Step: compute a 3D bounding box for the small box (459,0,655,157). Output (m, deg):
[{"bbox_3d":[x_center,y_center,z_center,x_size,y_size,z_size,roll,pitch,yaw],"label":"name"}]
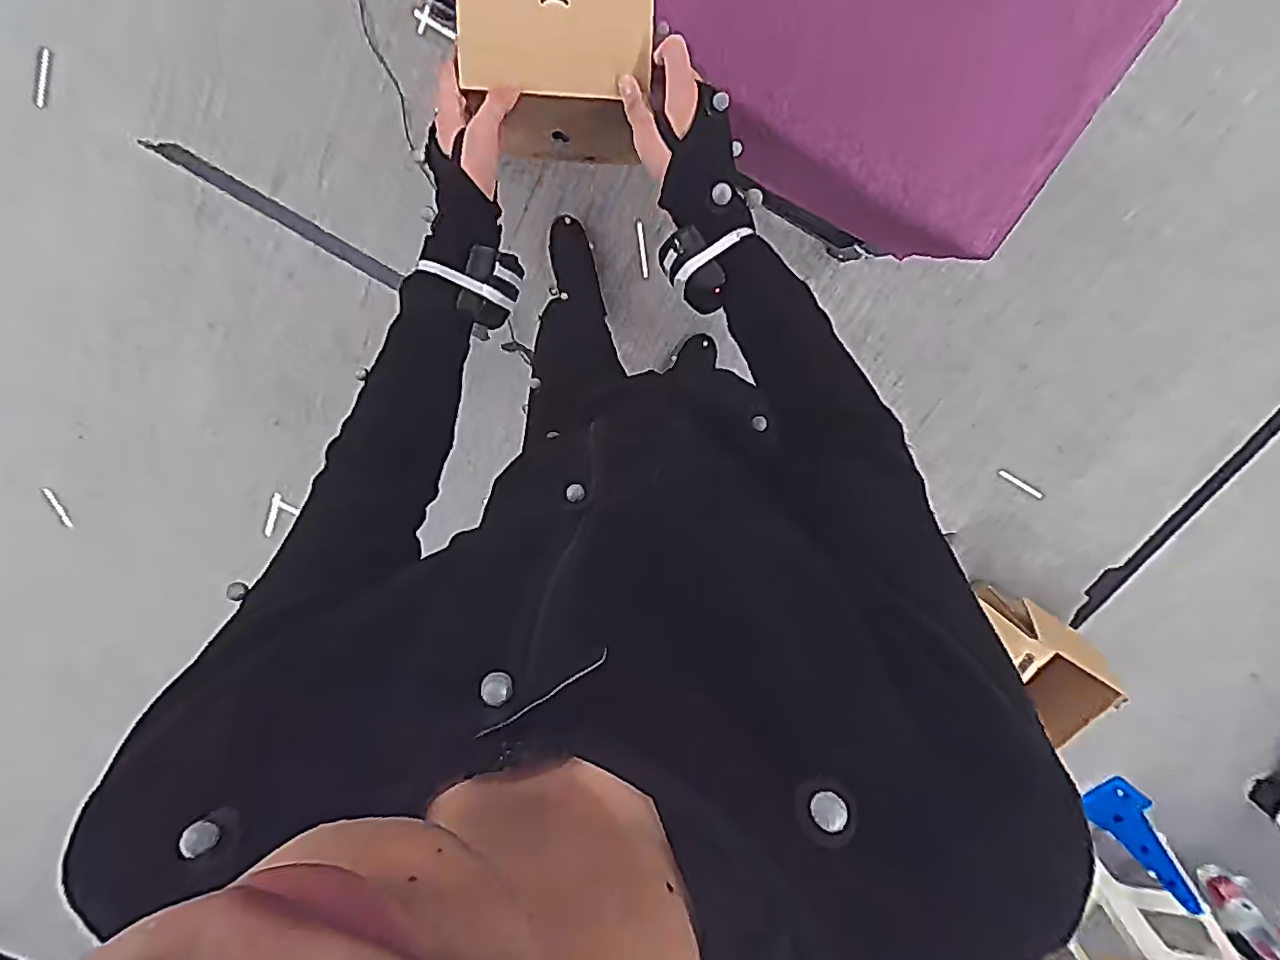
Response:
[{"bbox_3d":[-0.070,-0.440,0.528,0.168,0.176,0.179,2,102,-2],"label":"small box"}]
